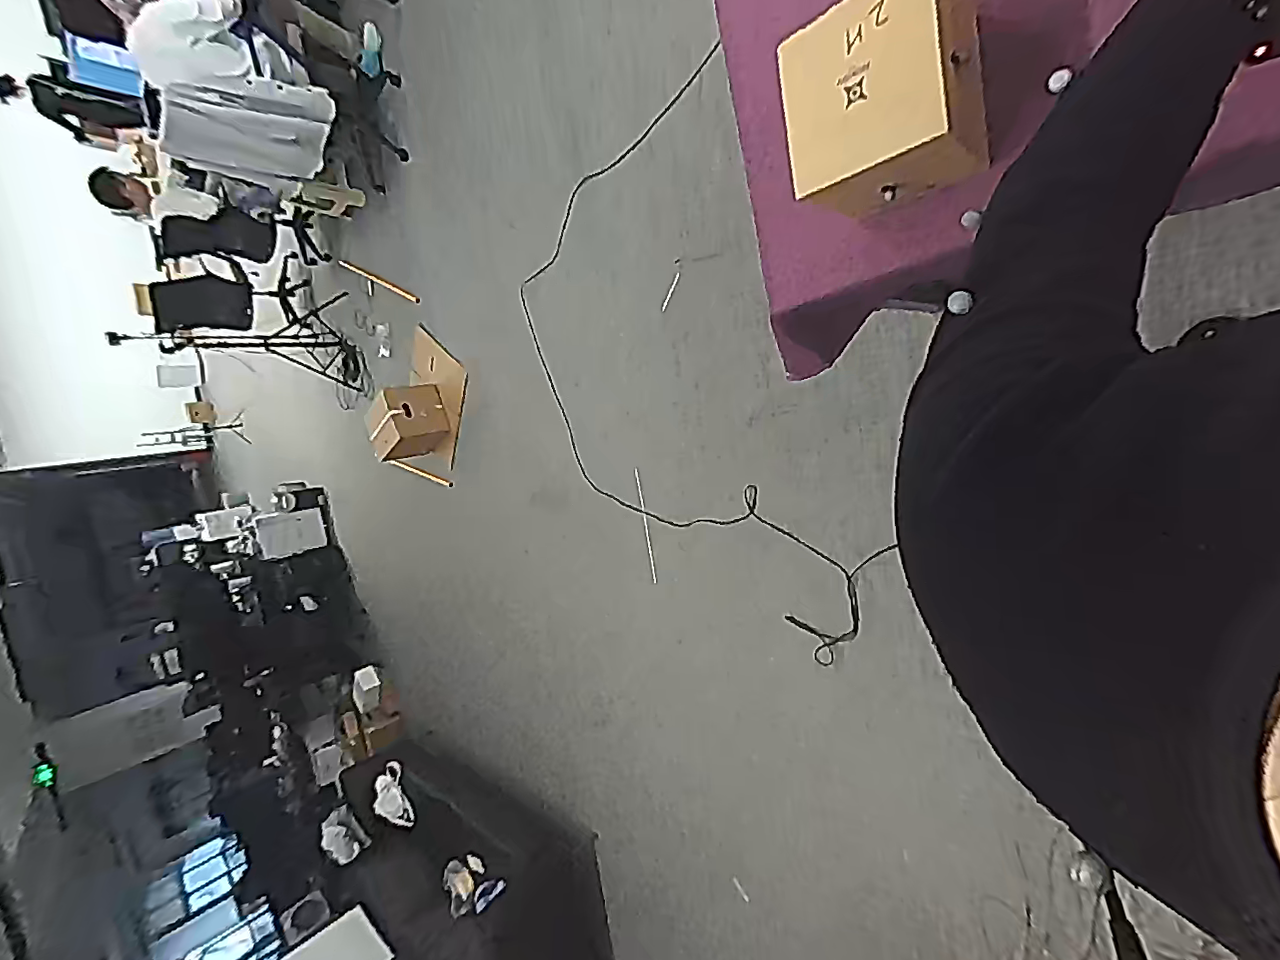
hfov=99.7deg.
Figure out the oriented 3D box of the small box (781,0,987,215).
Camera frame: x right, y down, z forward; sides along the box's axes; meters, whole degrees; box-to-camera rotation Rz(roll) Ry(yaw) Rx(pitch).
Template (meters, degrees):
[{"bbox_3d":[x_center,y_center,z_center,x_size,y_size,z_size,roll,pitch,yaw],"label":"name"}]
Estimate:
[{"bbox_3d":[0.289,-0.430,0.634,0.168,0.176,0.179,-3,98,45],"label":"small box"}]
